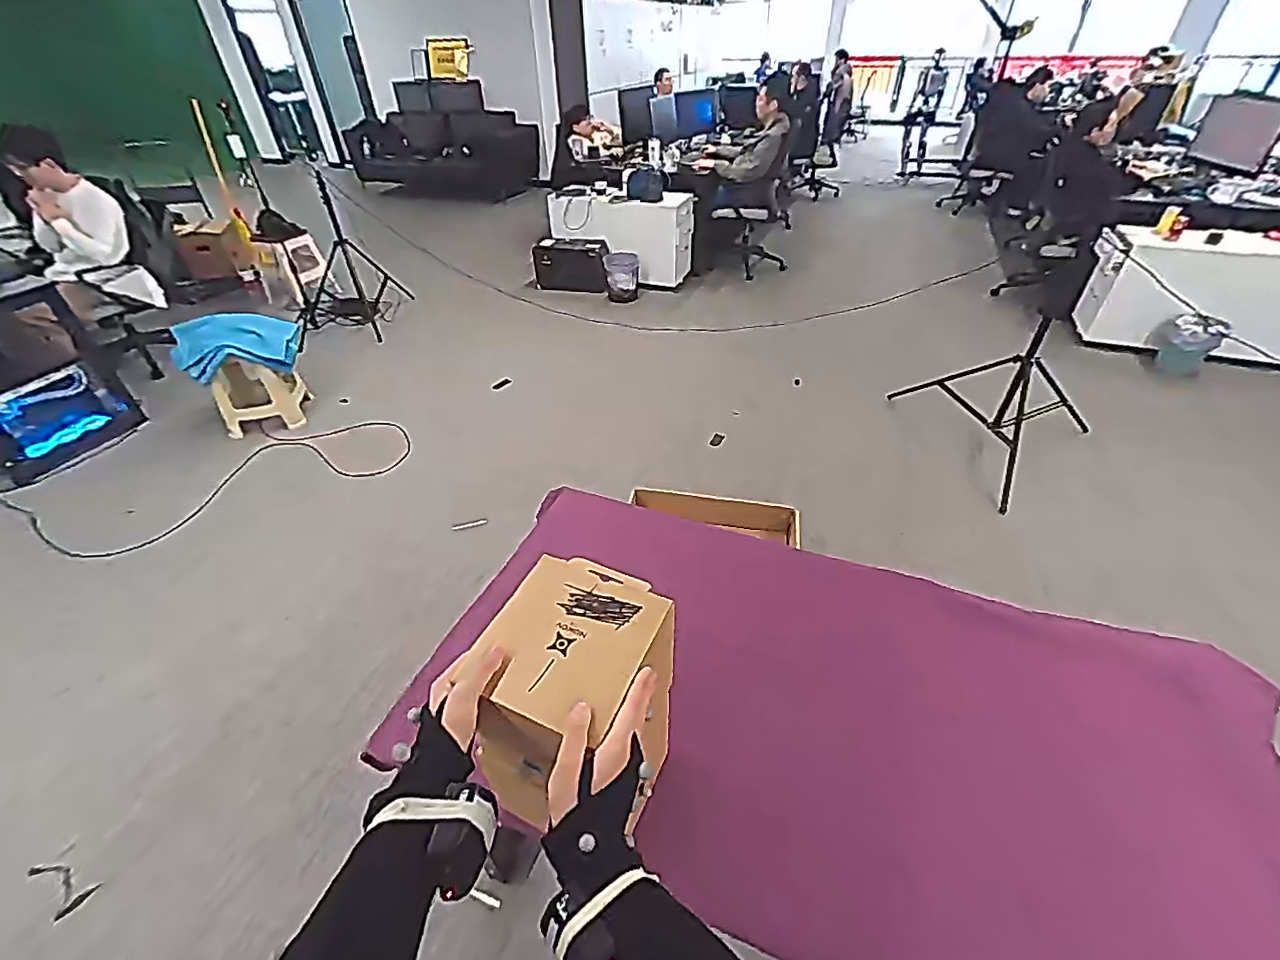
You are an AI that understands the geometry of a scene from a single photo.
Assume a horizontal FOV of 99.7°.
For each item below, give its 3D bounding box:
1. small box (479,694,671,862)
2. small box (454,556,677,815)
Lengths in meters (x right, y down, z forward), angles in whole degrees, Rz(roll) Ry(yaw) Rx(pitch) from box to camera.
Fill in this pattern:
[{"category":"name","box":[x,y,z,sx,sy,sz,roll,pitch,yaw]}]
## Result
[{"category":"small box","box":[-0.071,0.351,0.695,0.179,0.176,0.168,17,43,21]},{"category":"small box","box":[-0.069,0.221,0.596,0.168,0.176,0.179,16,44,20]}]
